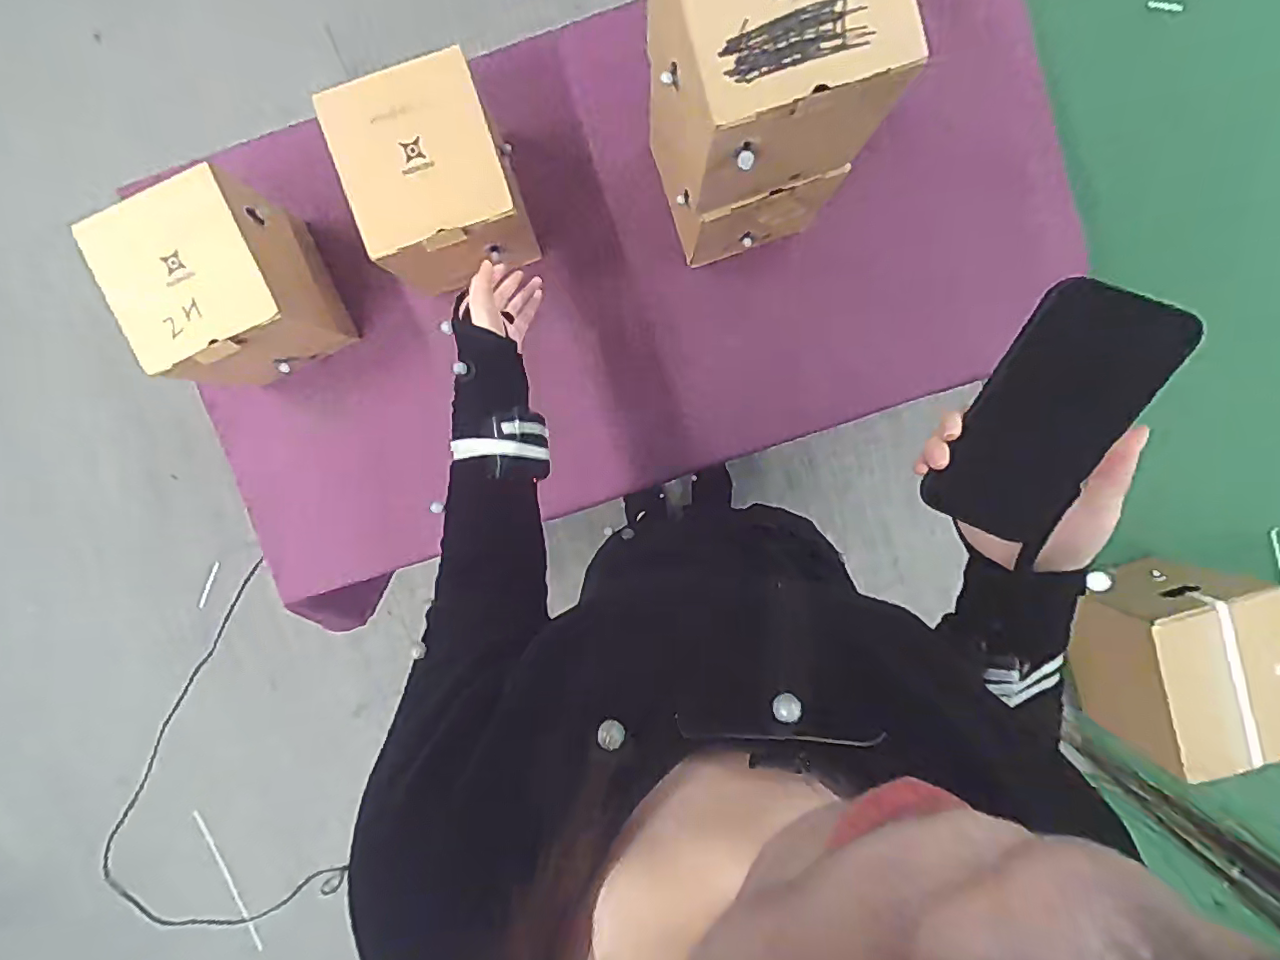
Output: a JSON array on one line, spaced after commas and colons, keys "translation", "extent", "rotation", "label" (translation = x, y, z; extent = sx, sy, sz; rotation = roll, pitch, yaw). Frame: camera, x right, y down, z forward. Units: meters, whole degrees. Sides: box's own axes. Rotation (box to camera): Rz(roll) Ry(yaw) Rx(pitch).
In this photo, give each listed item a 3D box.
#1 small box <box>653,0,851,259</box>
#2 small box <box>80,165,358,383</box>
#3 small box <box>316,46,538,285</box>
[{"translation": [0.116, -0.392, 0.636], "extent": [0.168, 0.176, 0.179], "rotation": [-19, 96, 3], "label": "small box"}, {"translation": [-0.490, -0.232, 0.660], "extent": [0.168, 0.176, 0.179], "rotation": [-24, 96, 3], "label": "small box"}, {"translation": [-0.234, -0.350, 0.645], "extent": [0.168, 0.176, 0.179], "rotation": [-18, 95, 1], "label": "small box"}]
